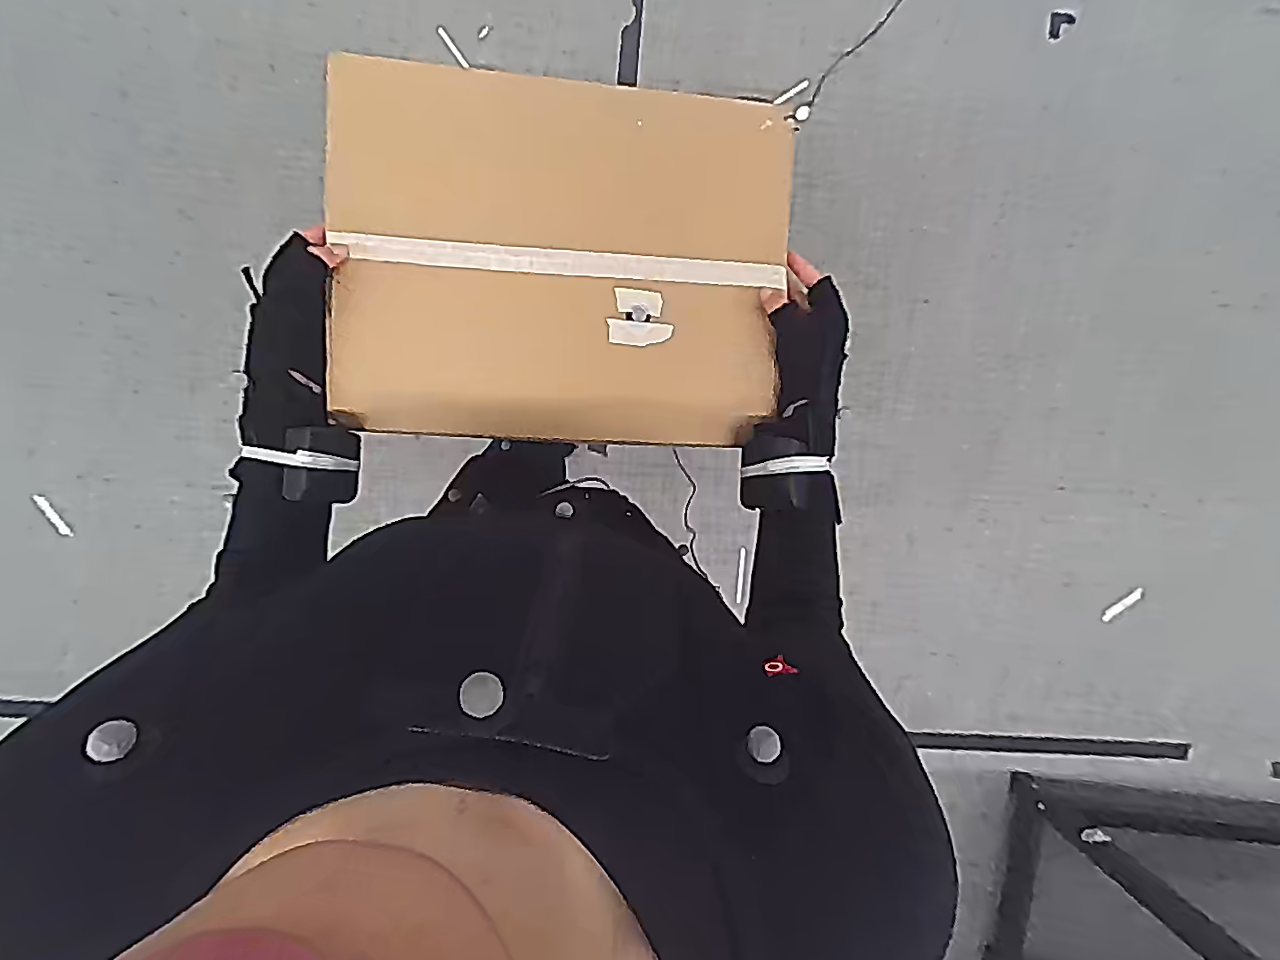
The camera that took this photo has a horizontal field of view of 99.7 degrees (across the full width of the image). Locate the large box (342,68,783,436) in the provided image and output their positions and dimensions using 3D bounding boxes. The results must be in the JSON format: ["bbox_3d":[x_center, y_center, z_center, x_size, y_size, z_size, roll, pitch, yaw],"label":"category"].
[{"bbox_3d":[-0.083,-0.212,0.646,0.408,0.320,0.320,2,95,-7],"label":"large box"}]
